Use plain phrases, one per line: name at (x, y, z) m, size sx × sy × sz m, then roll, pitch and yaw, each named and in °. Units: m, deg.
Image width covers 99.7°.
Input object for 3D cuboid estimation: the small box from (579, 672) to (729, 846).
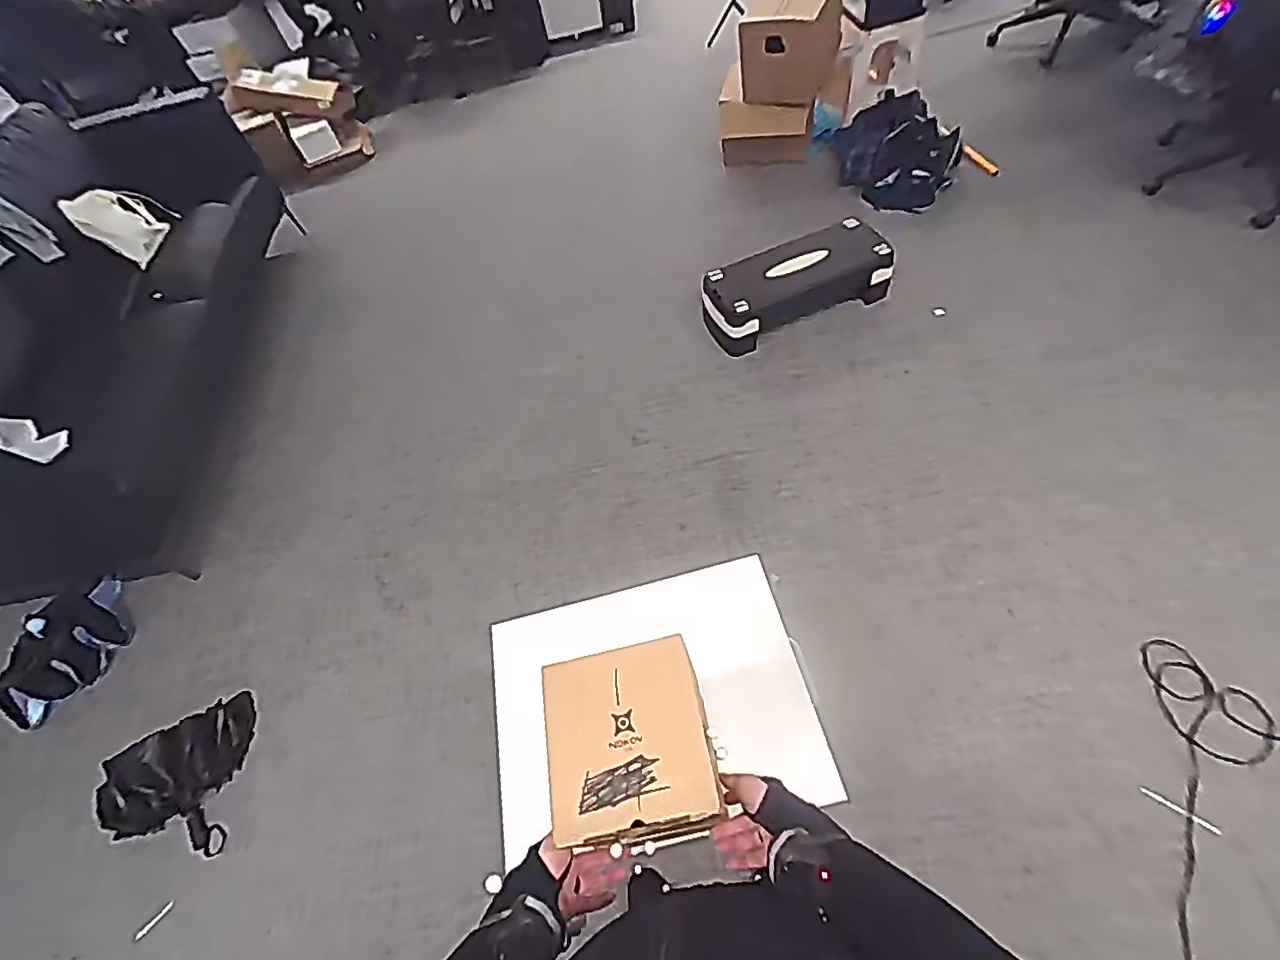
small box at (0.022, 0.395, 0.758) m, size 0.168 × 0.176 × 0.179 m, roll -15°, pitch 55°, yaw 2°
